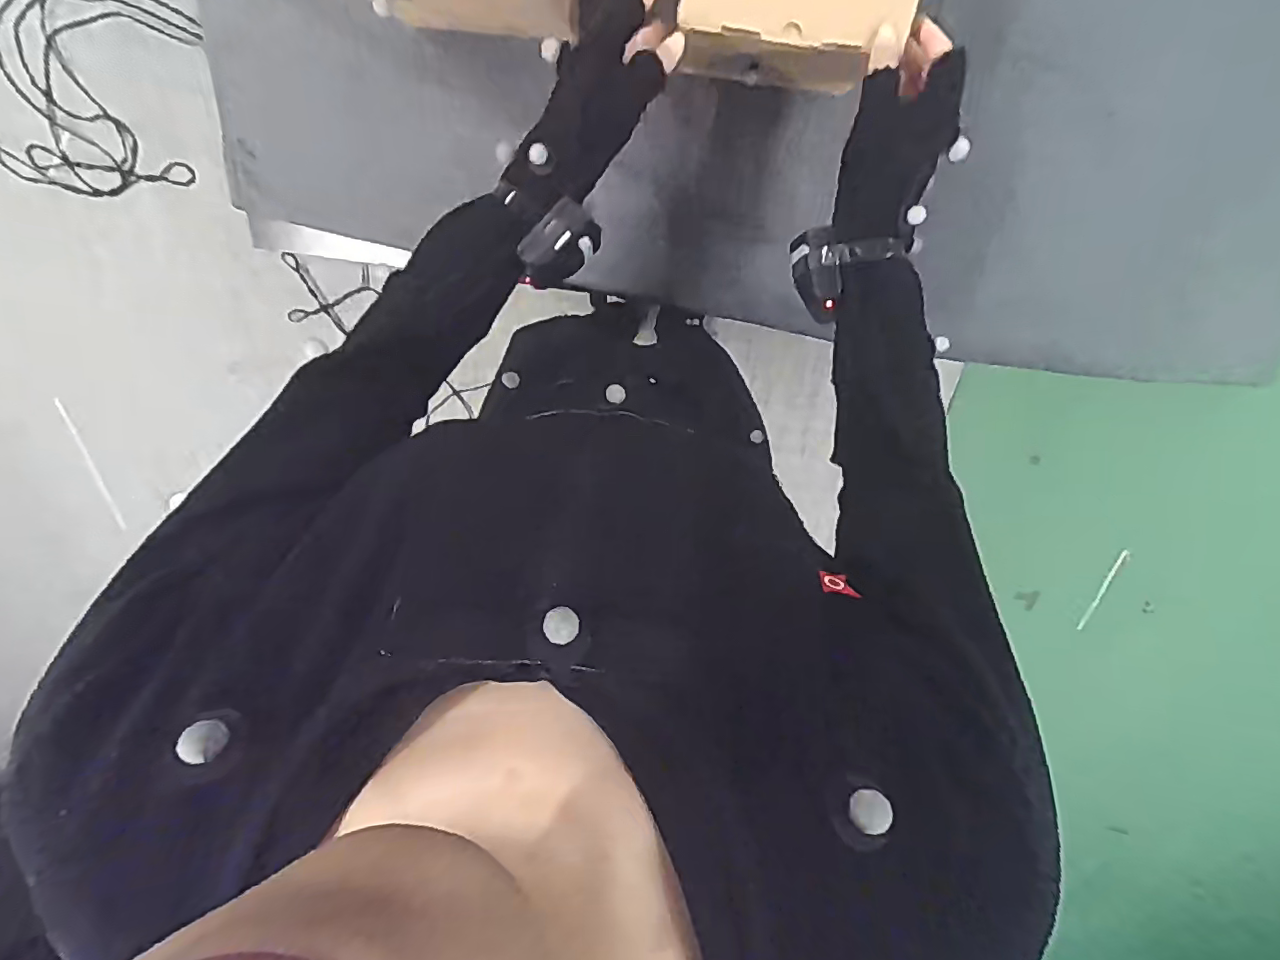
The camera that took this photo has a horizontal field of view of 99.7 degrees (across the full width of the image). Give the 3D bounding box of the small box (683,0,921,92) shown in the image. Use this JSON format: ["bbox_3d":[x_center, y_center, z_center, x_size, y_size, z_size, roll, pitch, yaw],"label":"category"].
[{"bbox_3d":[0.126,-0.428,0.419,0.168,0.176,0.179,8,120,0],"label":"small box"}]
